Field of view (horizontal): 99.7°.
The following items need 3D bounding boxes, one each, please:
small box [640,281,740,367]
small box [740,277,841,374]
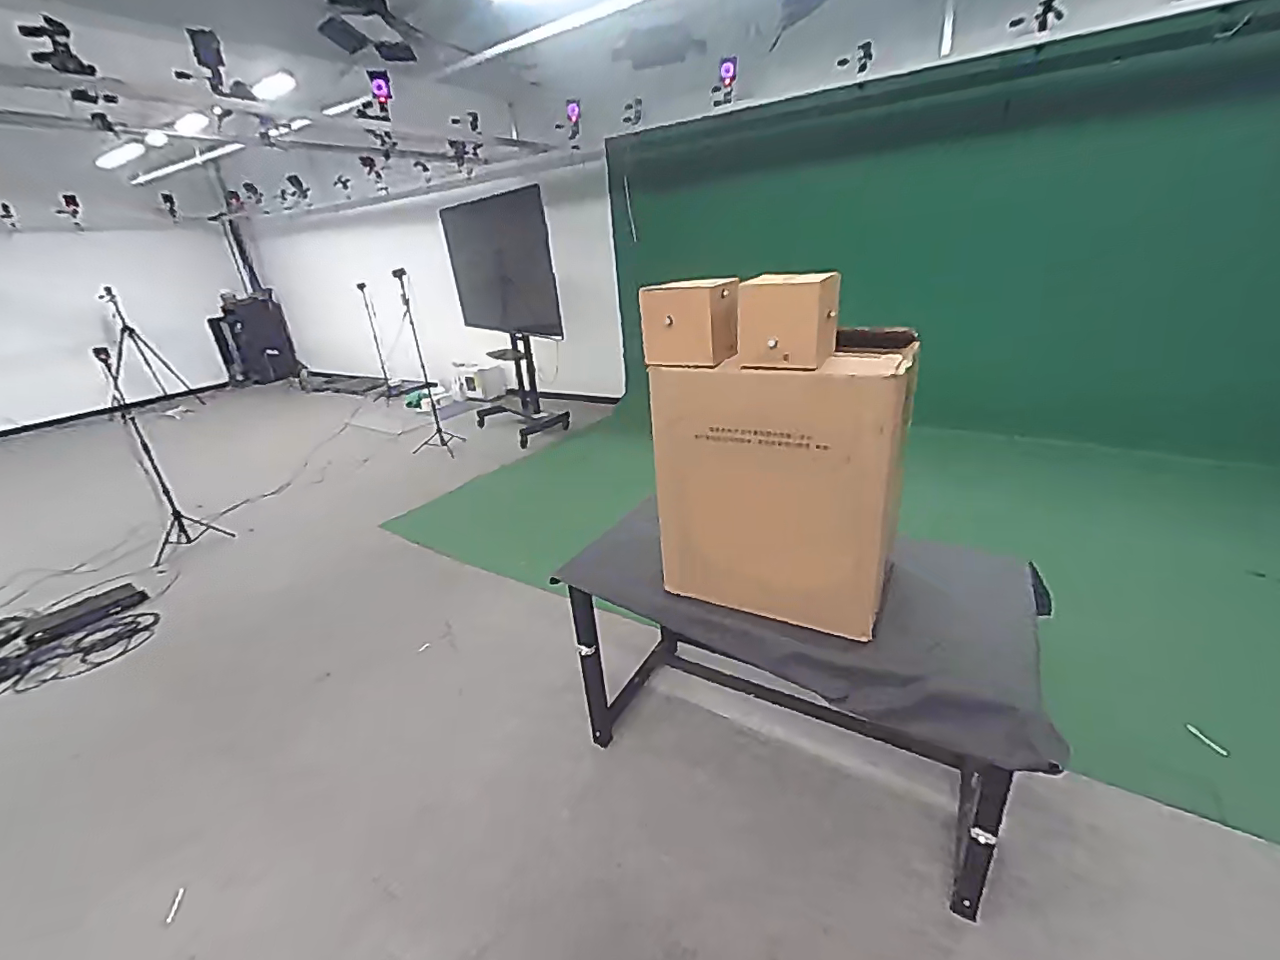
[{"bbox_3d":[0.120,-0.358,1.244,0.179,0.176,0.168,9,28,30],"label":"small box"},{"bbox_3d":[0.315,-0.332,1.144,0.168,0.176,0.179,10,29,29],"label":"small box"}]
